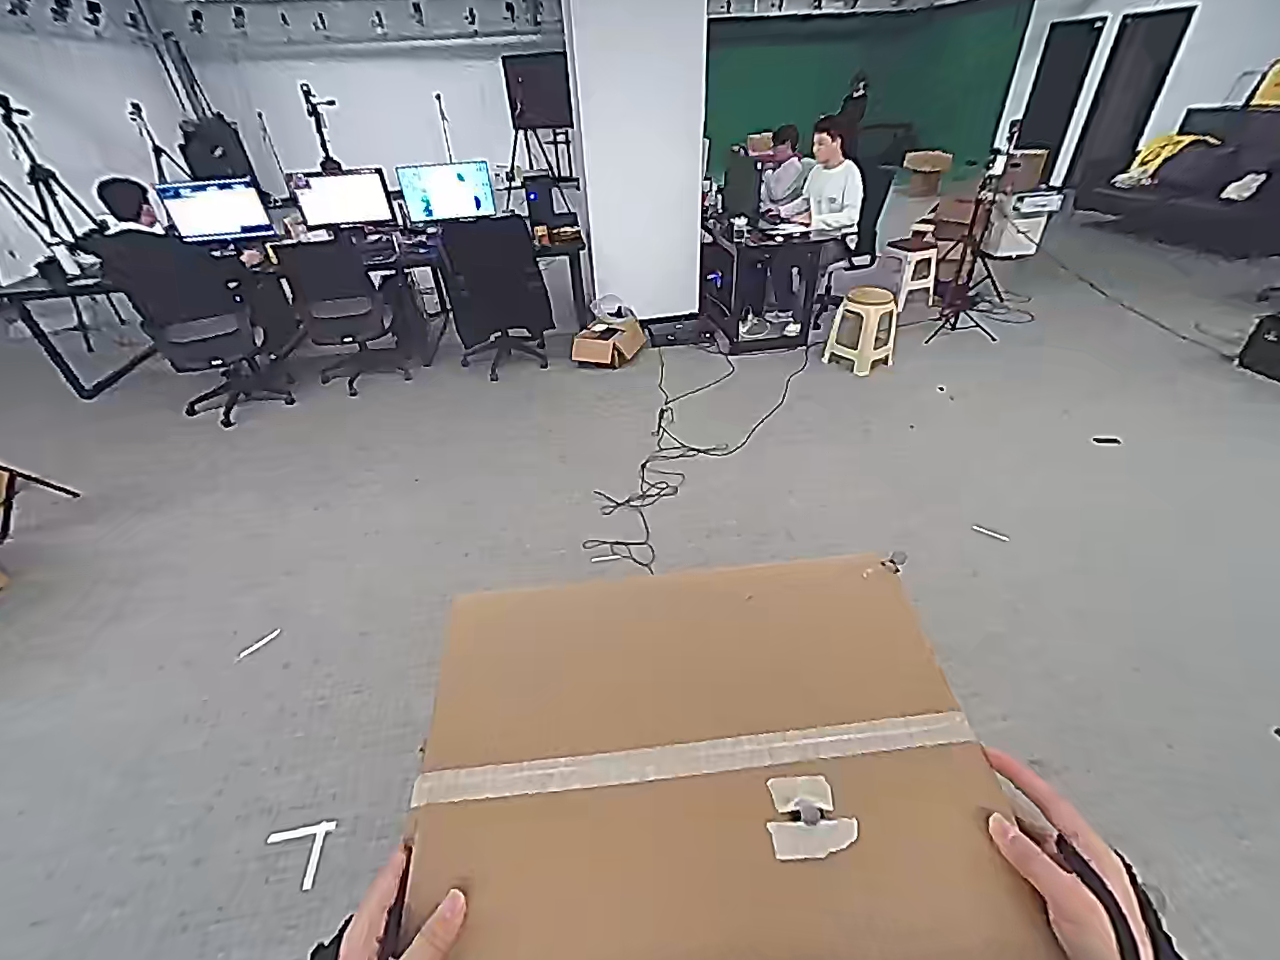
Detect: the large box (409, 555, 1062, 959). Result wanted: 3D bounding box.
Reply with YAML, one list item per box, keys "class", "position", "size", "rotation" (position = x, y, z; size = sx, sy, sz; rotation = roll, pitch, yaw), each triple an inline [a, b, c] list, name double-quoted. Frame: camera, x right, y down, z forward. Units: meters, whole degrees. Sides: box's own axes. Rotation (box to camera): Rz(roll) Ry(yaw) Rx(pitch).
- class: "large box"
  position: [0.047, 0.302, 0.518]
  size: [0.408, 0.320, 0.320]
  rotation: [-5, 50, -2]
